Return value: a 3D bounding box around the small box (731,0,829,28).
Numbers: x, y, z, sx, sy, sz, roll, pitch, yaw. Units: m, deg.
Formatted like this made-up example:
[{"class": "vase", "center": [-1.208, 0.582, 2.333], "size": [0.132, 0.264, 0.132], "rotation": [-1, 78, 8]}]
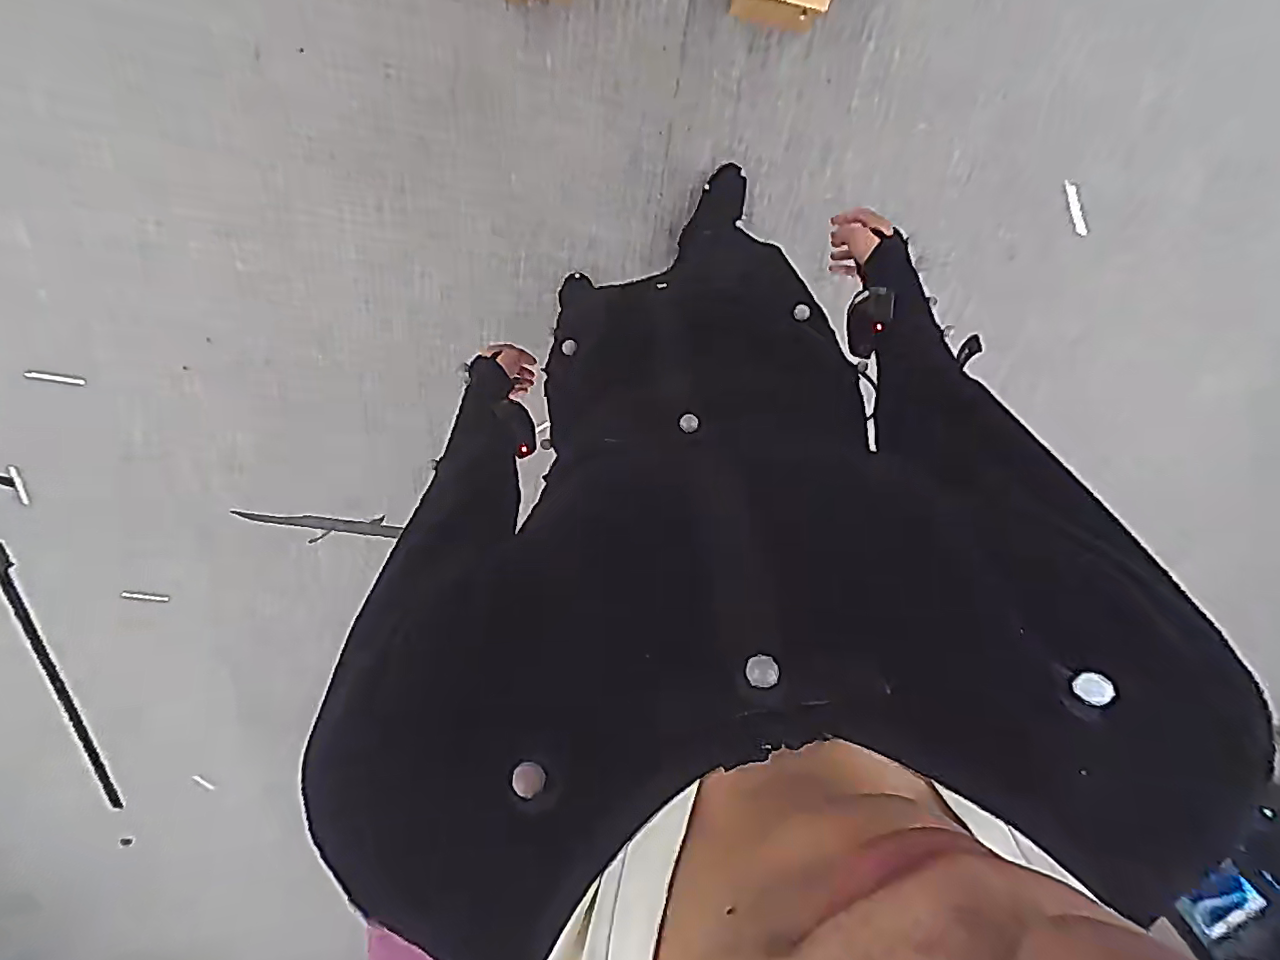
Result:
[{"class": "small box", "center": [0.297, -1.054, 1.096], "size": [0.179, 0.176, 0.168], "rotation": [8, 118, -7]}]
